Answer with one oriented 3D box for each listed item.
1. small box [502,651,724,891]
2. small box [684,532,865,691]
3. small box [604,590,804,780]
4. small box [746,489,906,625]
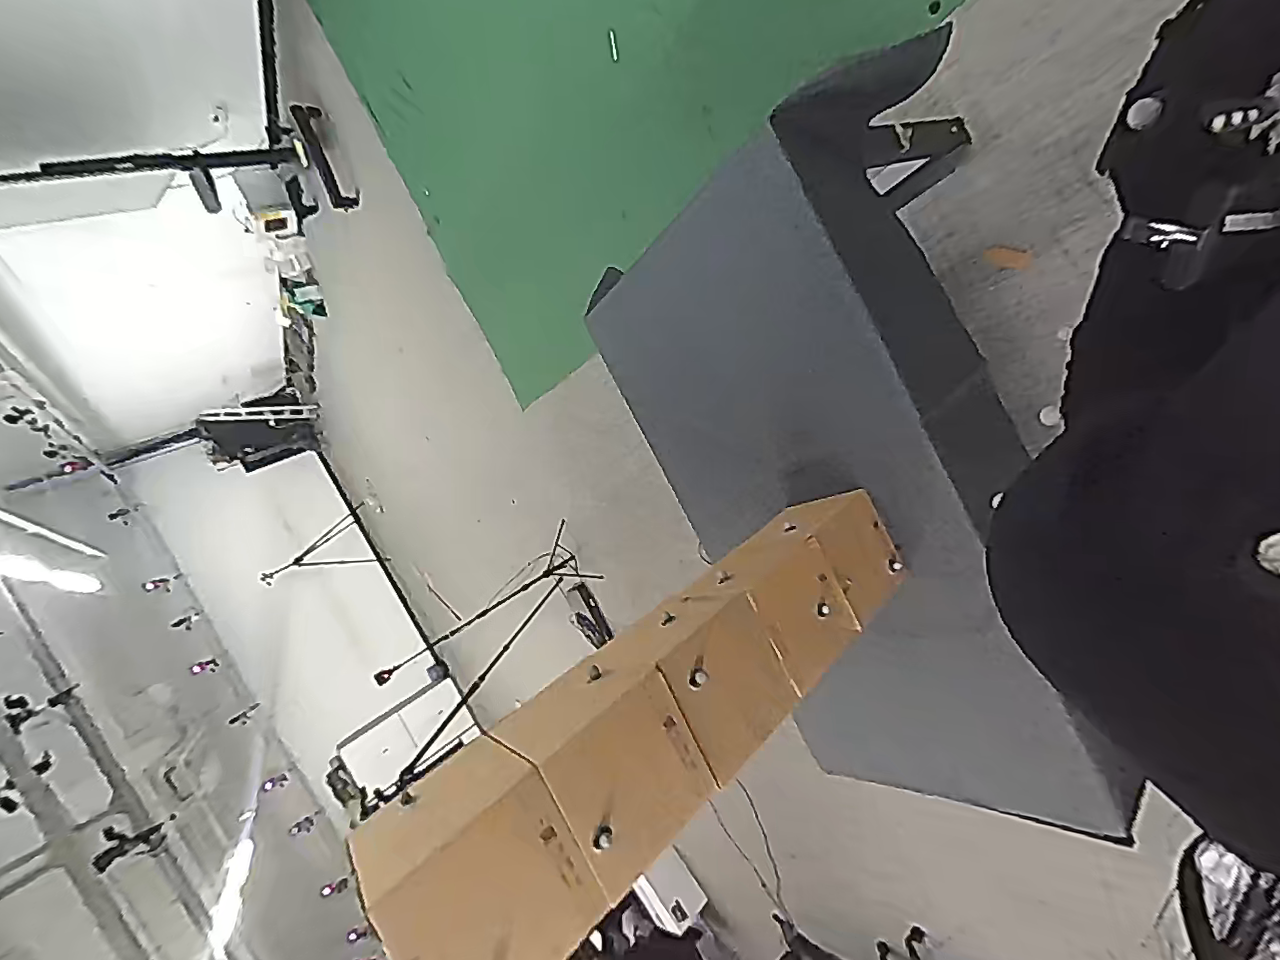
[{"bbox_3d":[-0.034,0.324,0.649,0.179,0.176,0.168,-20,97,56],"label":"small box"},{"bbox_3d":[0.206,0.197,0.835,0.179,0.176,0.168,-25,94,56],"label":"small box"},{"bbox_3d":[0.087,0.261,0.741,0.168,0.176,0.179,-22,96,56],"label":"small box"},{"bbox_3d":[0.323,0.132,0.925,0.179,0.176,0.168,-25,93,57],"label":"small box"}]
